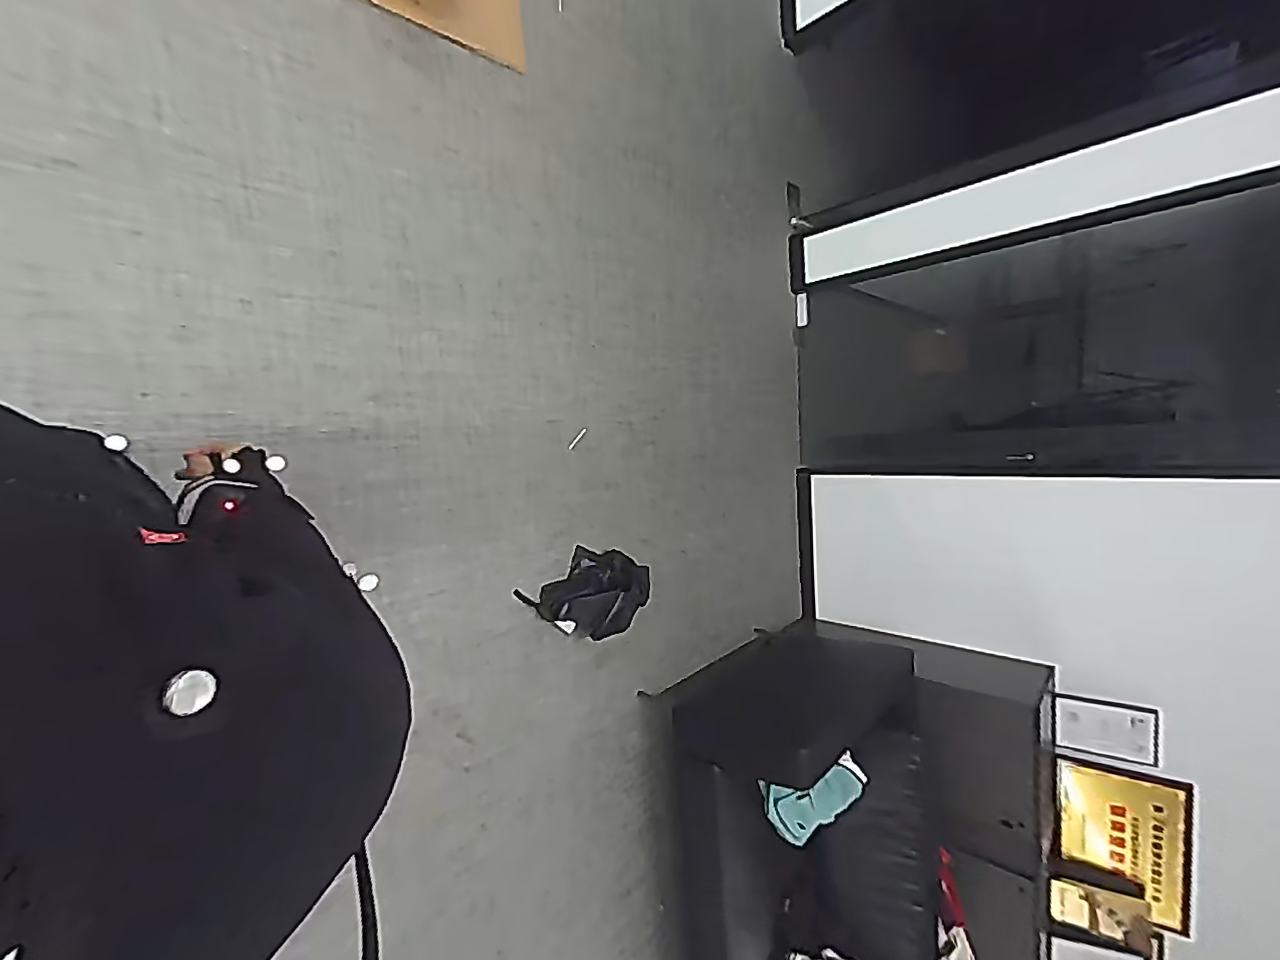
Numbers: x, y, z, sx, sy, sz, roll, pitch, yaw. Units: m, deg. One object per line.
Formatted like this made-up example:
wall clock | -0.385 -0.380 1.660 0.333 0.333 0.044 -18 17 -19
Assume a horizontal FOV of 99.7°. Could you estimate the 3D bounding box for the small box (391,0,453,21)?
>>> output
small box | -0.539 -1.270 1.292 0.168 0.176 0.179 -10 99 -46
